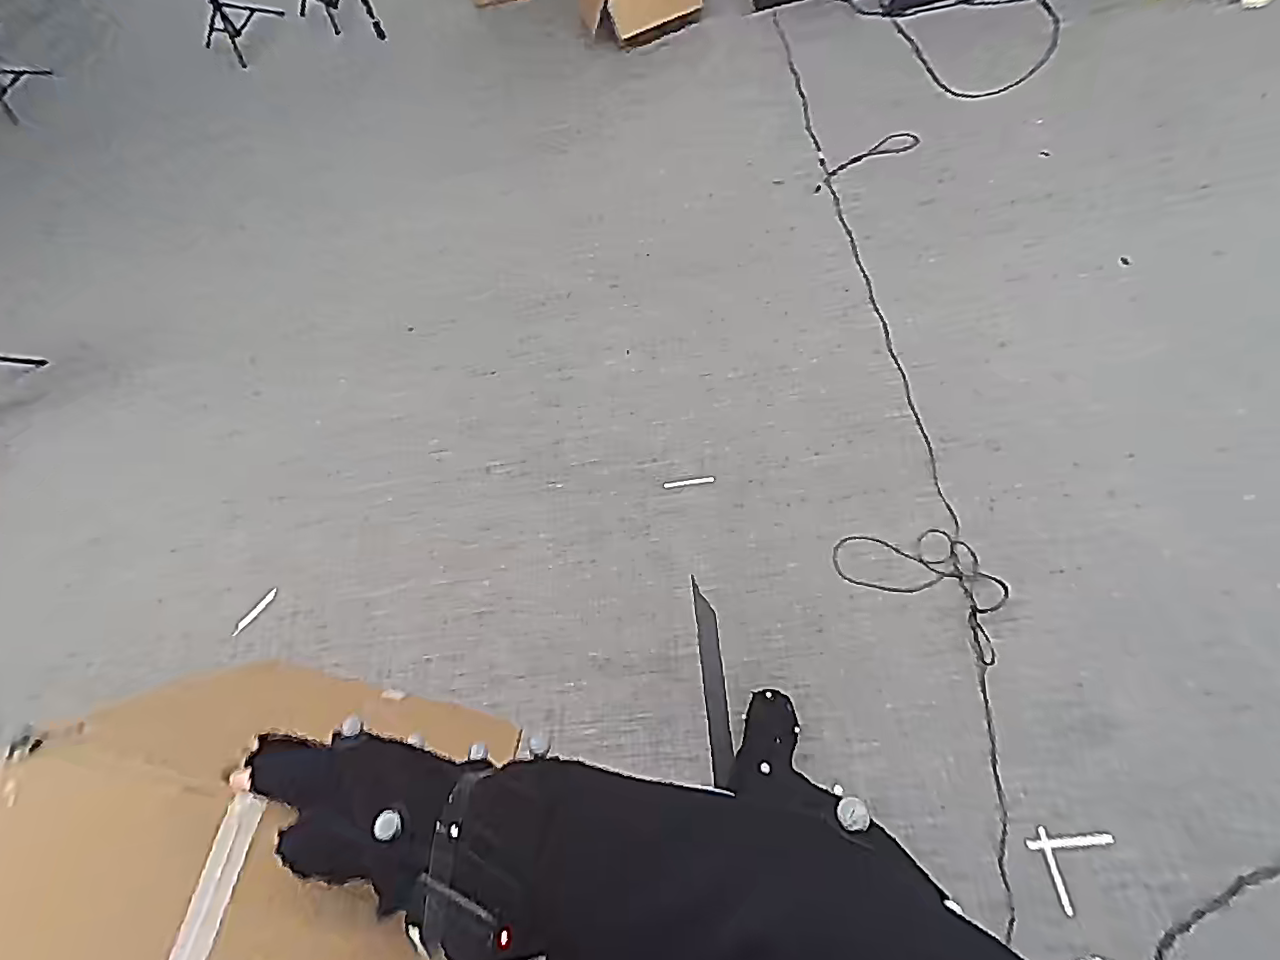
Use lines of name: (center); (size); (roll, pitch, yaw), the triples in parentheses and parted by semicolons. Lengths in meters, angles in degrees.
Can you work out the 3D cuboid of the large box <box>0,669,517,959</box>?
large box: (-0.320, 0.422, 0.473); (0.320, 0.320, 0.408); (16, 77, -6)
